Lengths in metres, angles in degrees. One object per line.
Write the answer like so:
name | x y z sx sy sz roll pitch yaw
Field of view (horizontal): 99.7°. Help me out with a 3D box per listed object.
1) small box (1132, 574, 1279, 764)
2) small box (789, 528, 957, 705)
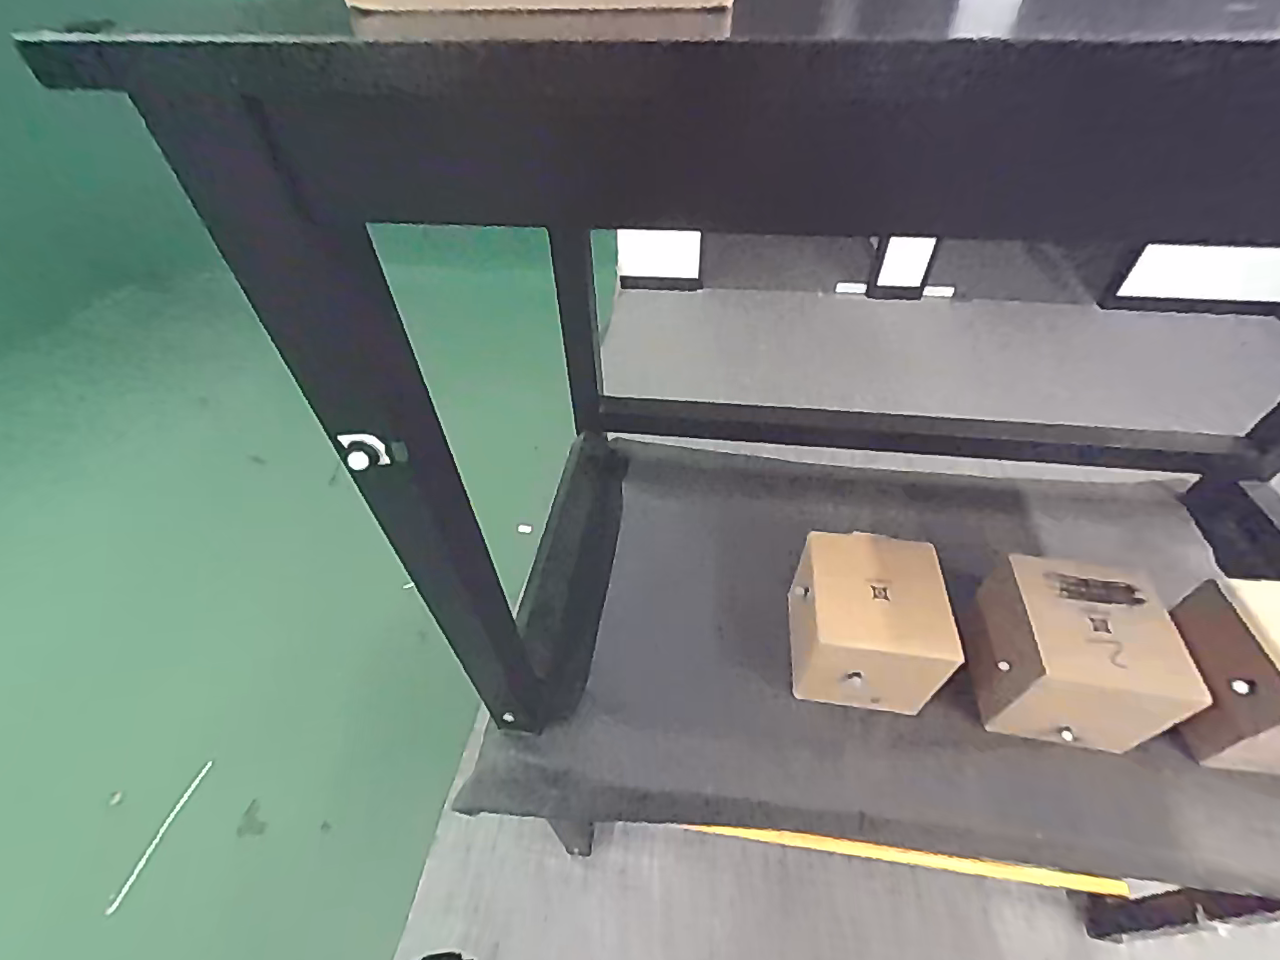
small box | 0.792 0.243 0.680 0.168 0.176 0.179 5 45 6
small box | 0.306 0.191 0.752 0.168 0.176 0.179 5 46 7
